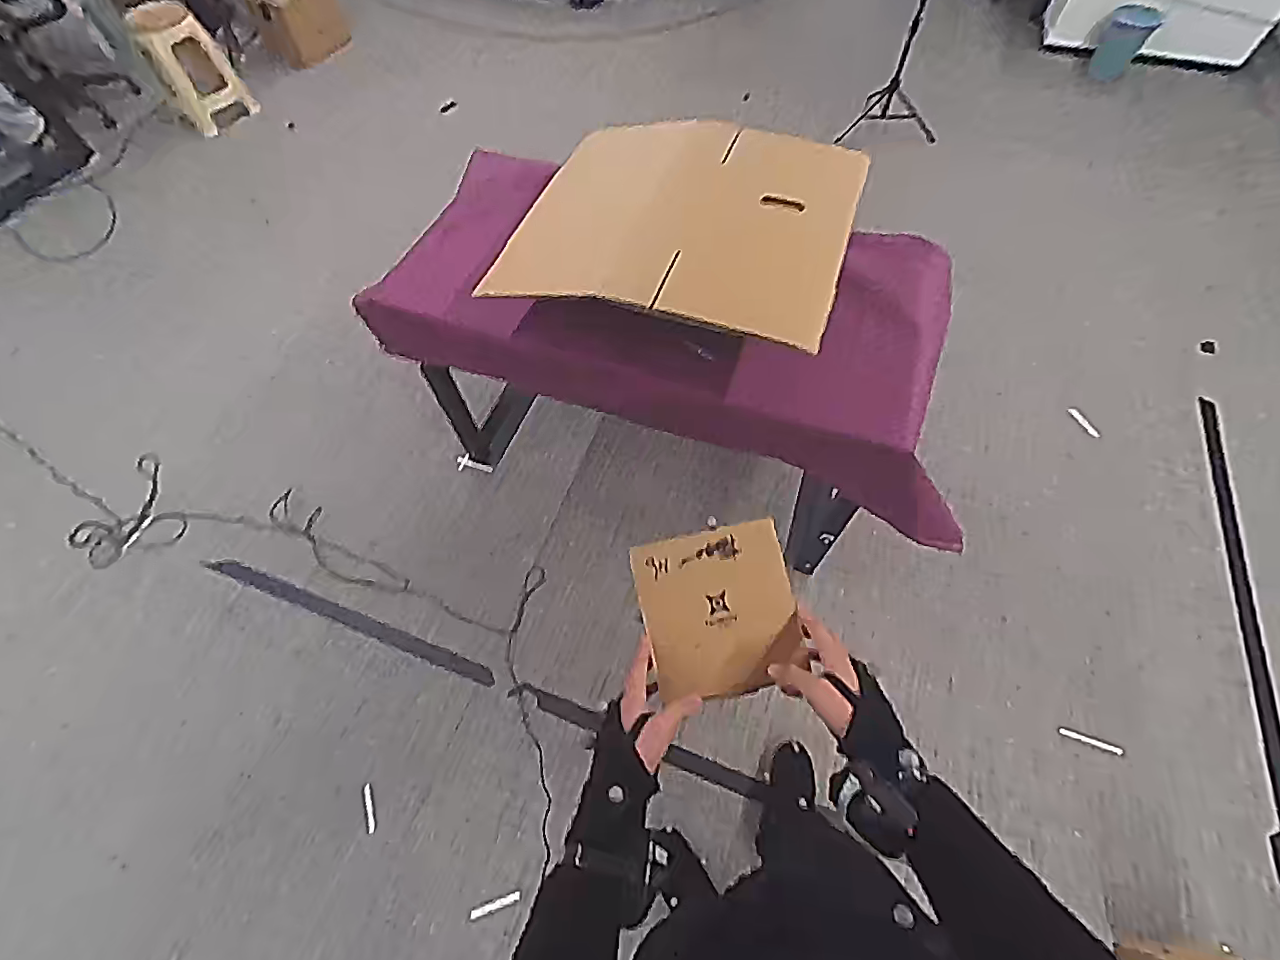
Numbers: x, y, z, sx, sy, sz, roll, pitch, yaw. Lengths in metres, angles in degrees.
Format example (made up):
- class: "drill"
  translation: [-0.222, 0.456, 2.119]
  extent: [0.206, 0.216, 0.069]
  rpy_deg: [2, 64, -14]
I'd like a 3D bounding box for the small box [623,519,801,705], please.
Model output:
- class: "small box"
  translation: [0.080, 0.151, 0.670]
  extent: [0.168, 0.176, 0.179]
  rpy_deg: [-13, 83, 0]
